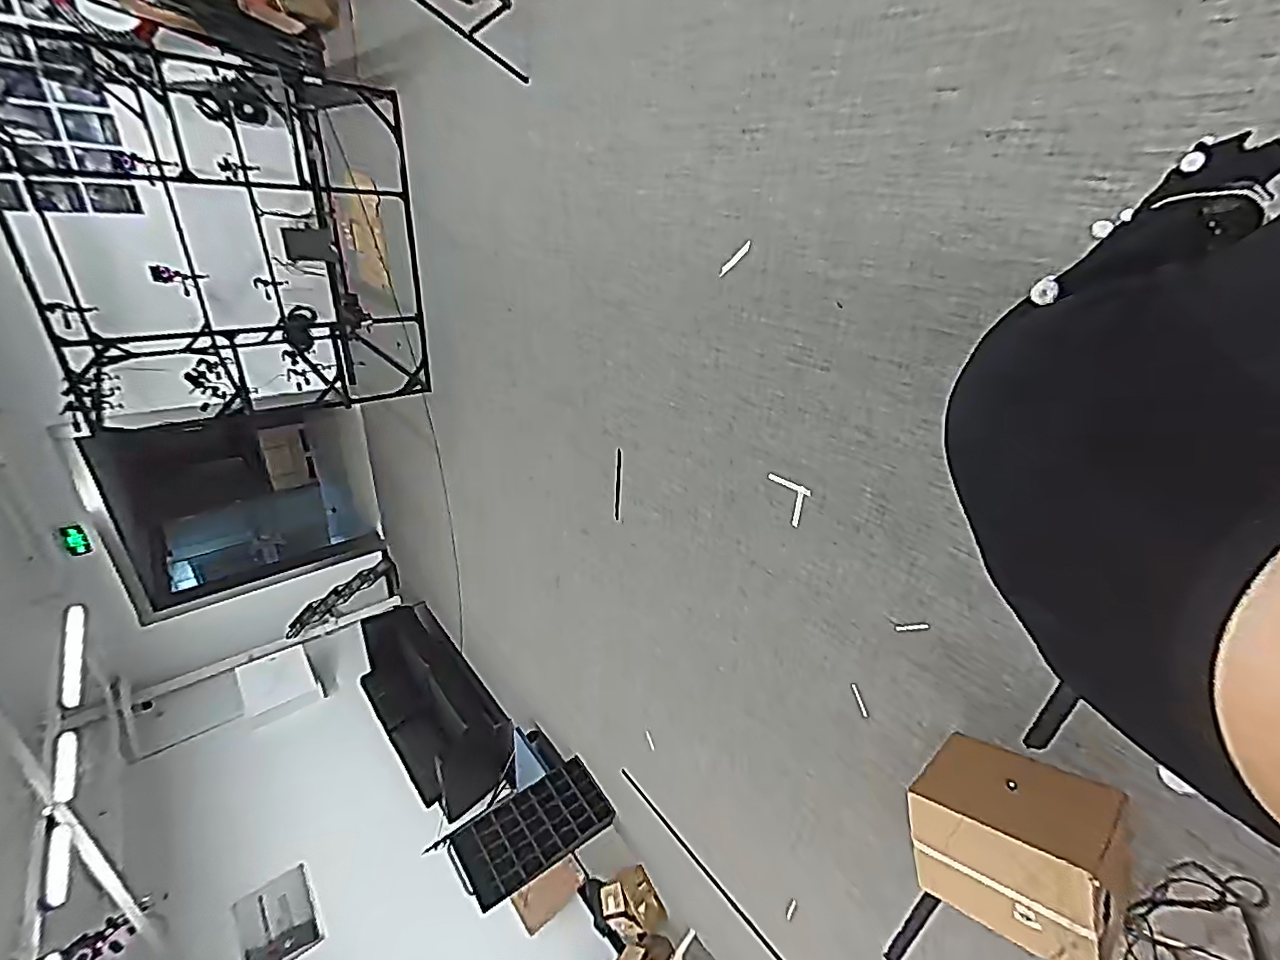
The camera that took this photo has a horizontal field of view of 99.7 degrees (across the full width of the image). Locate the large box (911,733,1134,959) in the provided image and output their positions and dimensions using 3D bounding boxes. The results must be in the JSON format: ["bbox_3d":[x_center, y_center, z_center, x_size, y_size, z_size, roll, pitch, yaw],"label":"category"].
[{"bbox_3d":[0.997,0.940,1.421,0.408,0.320,0.320,0,104,51],"label":"large box"}]
